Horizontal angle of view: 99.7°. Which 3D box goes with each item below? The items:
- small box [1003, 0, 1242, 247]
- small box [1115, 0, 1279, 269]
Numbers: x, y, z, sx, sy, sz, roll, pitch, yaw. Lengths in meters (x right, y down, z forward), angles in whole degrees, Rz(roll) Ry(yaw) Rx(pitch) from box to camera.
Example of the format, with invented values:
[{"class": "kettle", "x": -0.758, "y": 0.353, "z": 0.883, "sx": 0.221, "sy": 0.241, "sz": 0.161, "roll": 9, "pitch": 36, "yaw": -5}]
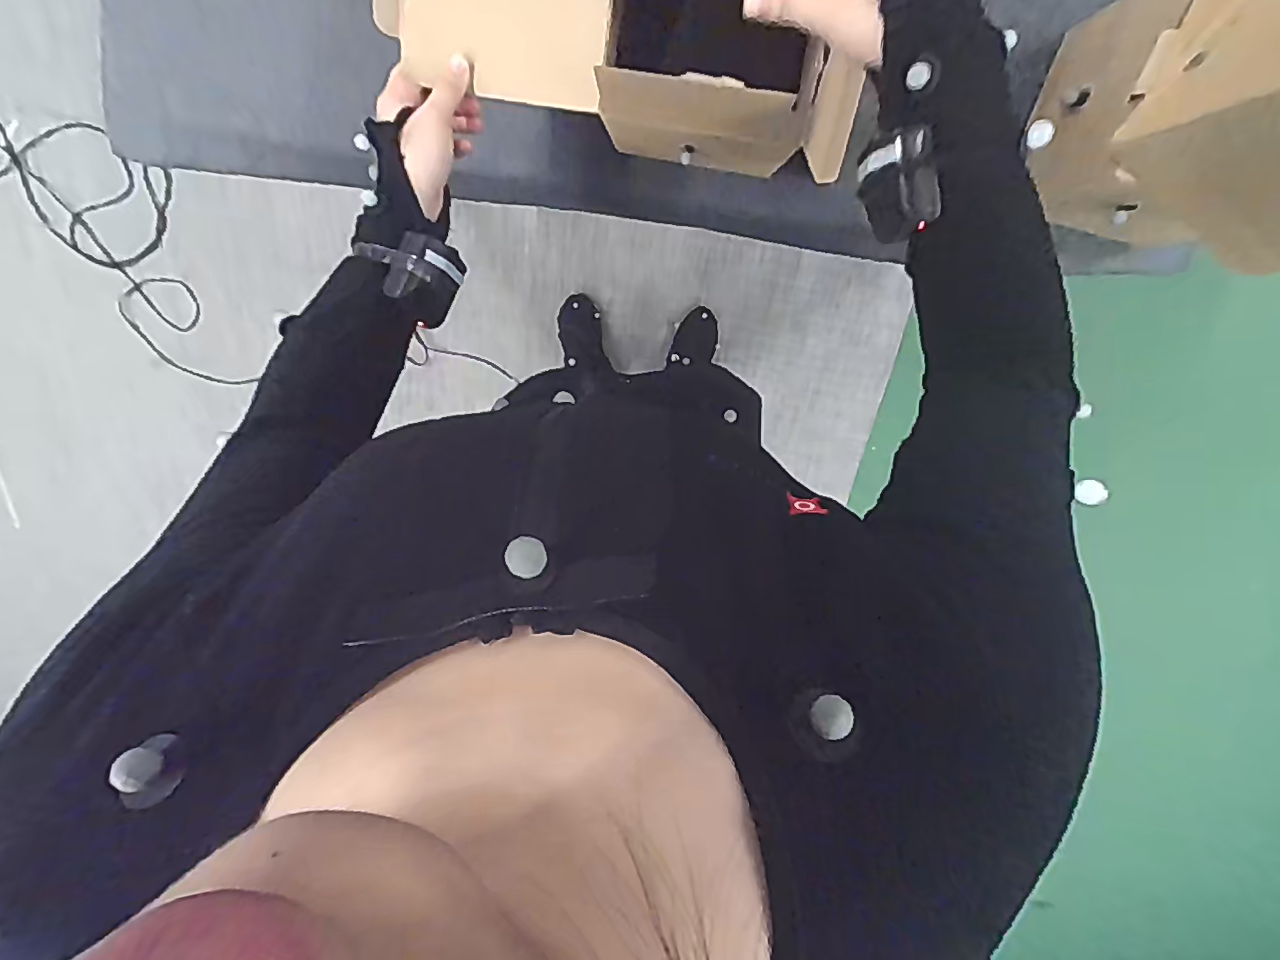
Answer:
[{"class": "small box", "x": 0.493, "y": -0.327, "z": 0.505, "sx": 0.179, "sy": 0.176, "sz": 0.168, "roll": 14, "pitch": 109, "yaw": -2}, {"class": "small box", "x": 0.488, "y": -0.256, "z": 0.357, "sx": 0.179, "sy": 0.176, "sz": 0.168, "roll": 33, "pitch": 107, "yaw": -10}]
